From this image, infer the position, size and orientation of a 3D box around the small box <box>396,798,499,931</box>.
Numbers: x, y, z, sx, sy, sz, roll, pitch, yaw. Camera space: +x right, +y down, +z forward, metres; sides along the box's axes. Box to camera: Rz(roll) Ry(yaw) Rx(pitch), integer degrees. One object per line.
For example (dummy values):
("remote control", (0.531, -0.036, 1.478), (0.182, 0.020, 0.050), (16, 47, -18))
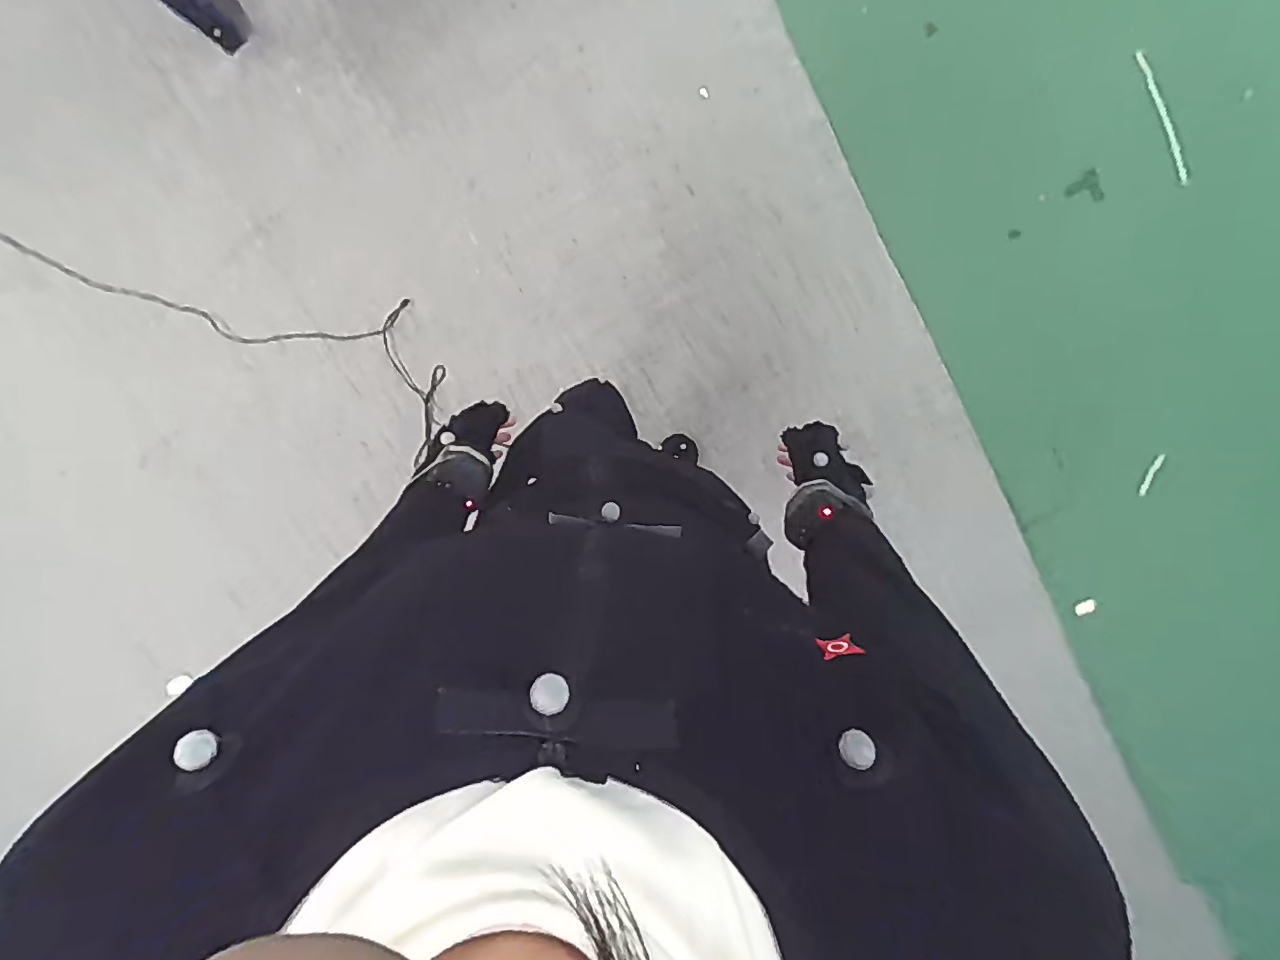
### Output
("small box", (-0.422, 0.836, 1.190), (0.179, 0.176, 0.168), (6, 100, 3))

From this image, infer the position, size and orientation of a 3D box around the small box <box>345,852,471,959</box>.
("small box", (-0.429, 0.846, 1.023), (0.168, 0.176, 0.179), (1, 97, 3))
